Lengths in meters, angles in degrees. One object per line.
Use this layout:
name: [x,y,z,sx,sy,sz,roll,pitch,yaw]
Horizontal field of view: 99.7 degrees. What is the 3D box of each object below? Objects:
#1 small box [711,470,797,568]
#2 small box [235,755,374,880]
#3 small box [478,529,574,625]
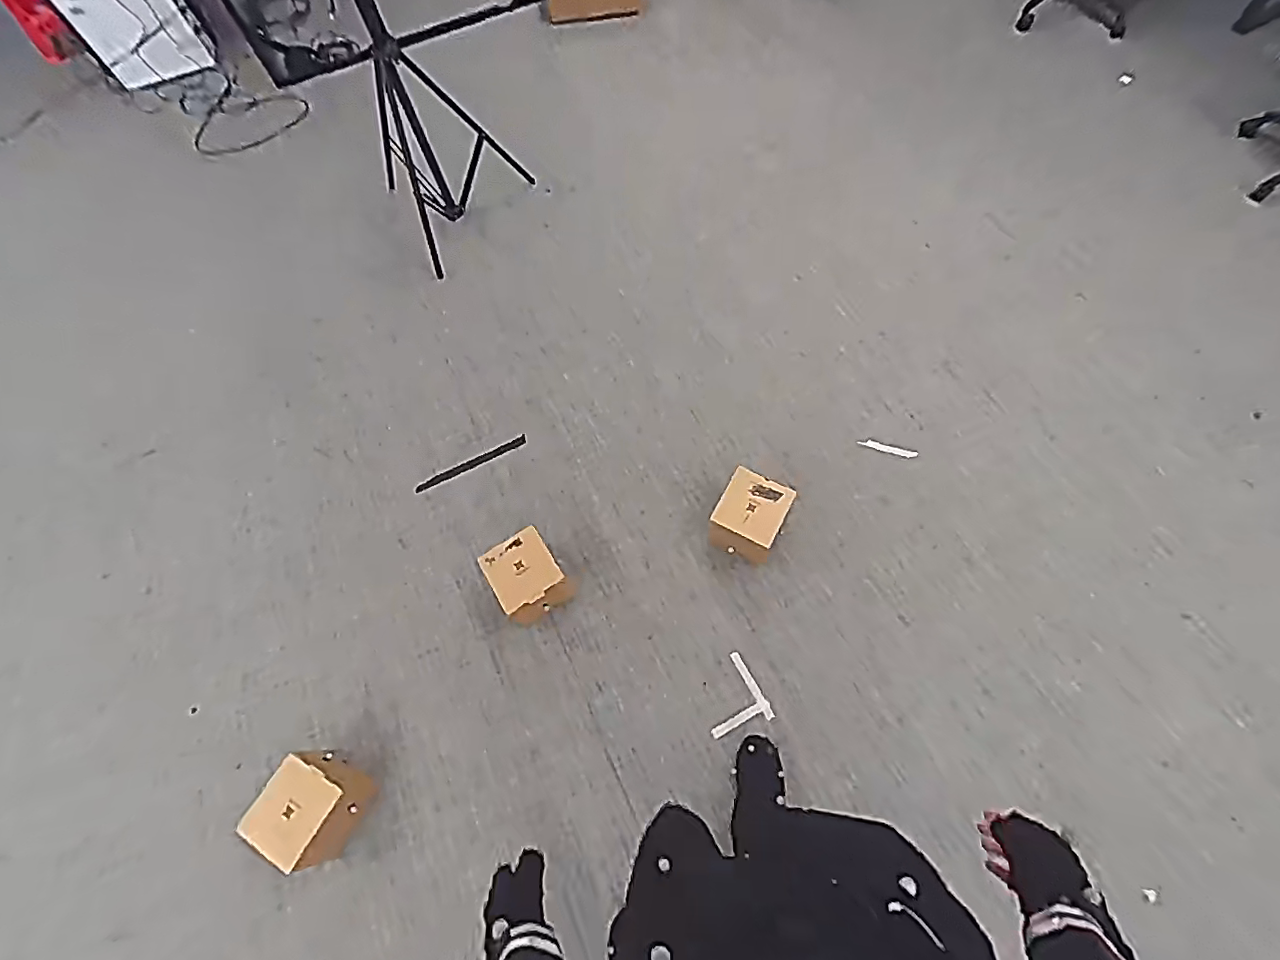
small box: [0.294,0.108,1.438,0.168,0.176,0.179,26,70,16]
small box: [-0.739,0.746,1.220,0.168,0.176,0.179,23,69,17]
small box: [-0.291,0.263,1.413,0.168,0.176,0.179,-32,67,-11]
